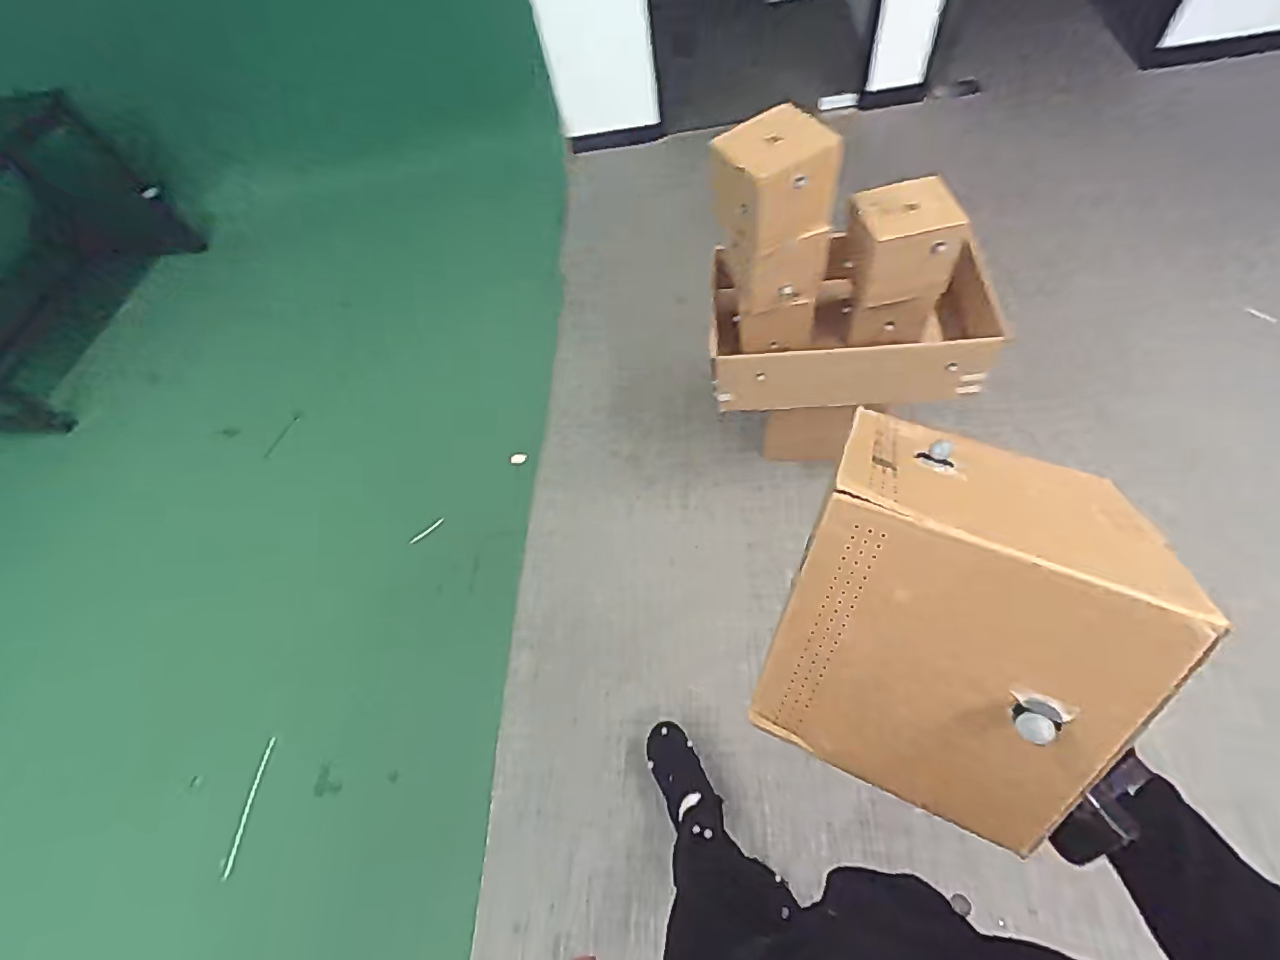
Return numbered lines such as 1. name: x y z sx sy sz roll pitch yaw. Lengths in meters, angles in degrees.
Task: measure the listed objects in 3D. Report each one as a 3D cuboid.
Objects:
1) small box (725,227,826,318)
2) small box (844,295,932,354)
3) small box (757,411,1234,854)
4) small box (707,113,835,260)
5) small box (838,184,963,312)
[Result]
1. small box: 0.289 -0.492 1.195 0.168 0.176 0.179 -17 59 1
2. small box: 0.587 -0.420 1.291 0.168 0.176 0.179 6 61 15
3. small box: 0.187 0.075 0.348 0.176 0.179 0.168 21 28 19
4. small box: 0.250 -0.564 1.054 0.179 0.176 0.168 -29 60 -7
5. small box: 0.538 -0.484 1.143 0.179 0.176 0.168 -10 57 6
